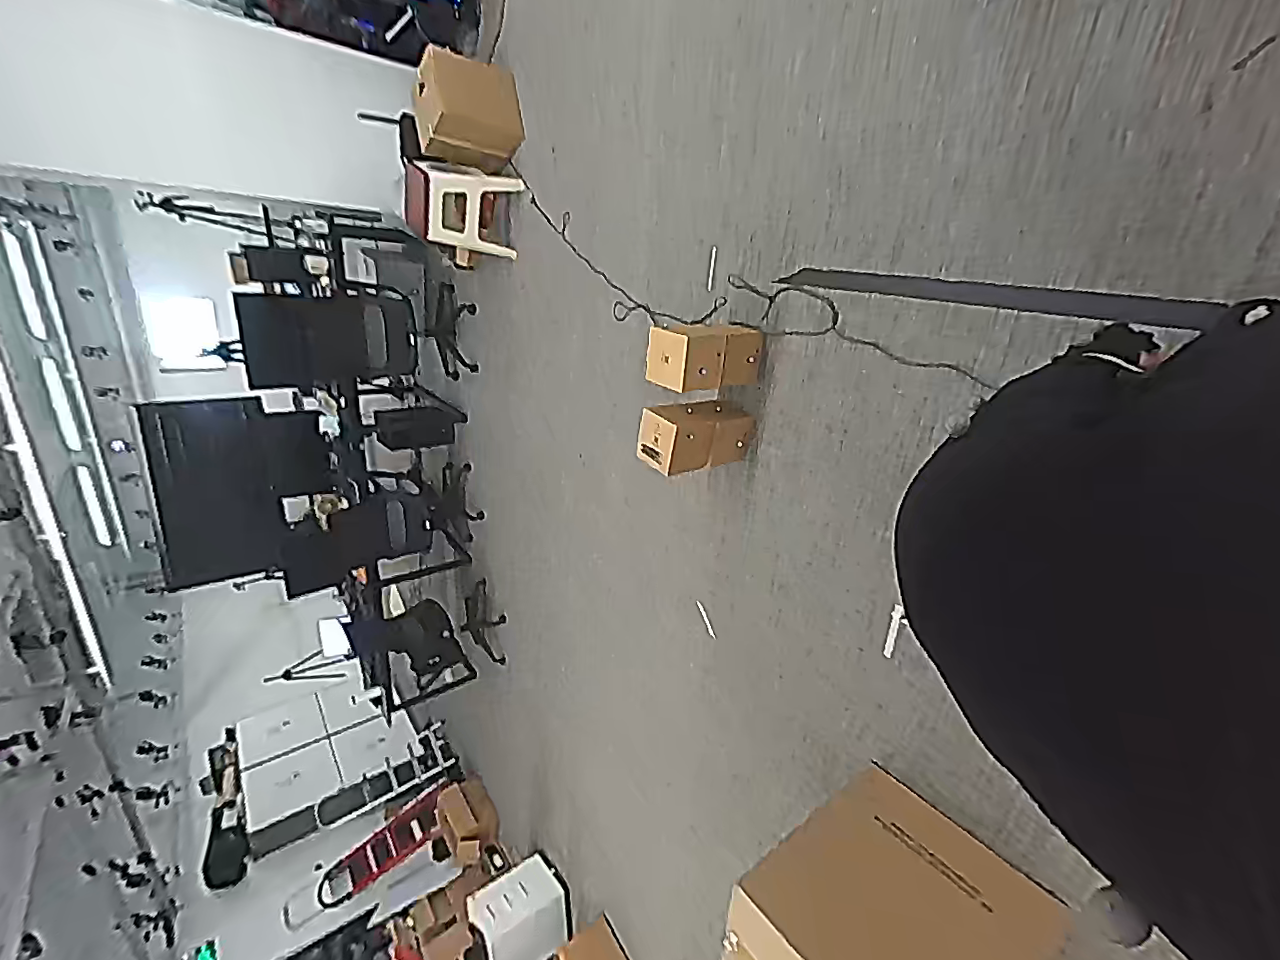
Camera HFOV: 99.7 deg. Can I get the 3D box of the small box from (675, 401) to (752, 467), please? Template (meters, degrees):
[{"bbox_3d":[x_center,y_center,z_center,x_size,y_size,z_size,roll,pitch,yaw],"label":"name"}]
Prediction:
[{"bbox_3d":[0.248,-0.163,1.829,0.179,0.176,0.168,36,127,41],"label":"small box"}]

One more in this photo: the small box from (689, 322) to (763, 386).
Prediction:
[{"bbox_3d":[0.265,-0.409,1.731,0.179,0.176,0.168,30,125,44],"label":"small box"}]

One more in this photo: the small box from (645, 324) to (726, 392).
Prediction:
[{"bbox_3d":[0.138,-0.375,1.637,0.179,0.176,0.168,31,125,45],"label":"small box"}]
